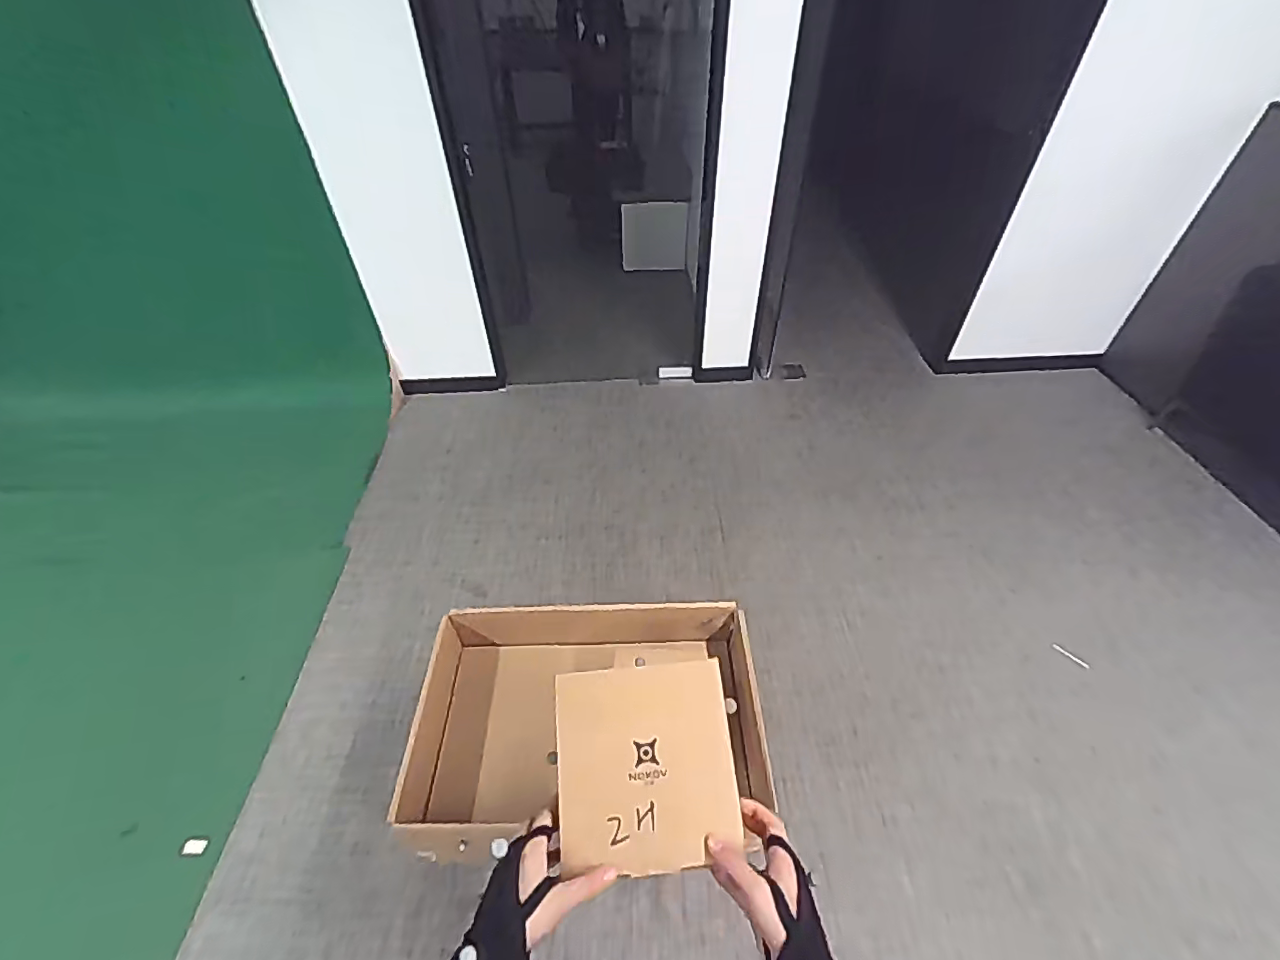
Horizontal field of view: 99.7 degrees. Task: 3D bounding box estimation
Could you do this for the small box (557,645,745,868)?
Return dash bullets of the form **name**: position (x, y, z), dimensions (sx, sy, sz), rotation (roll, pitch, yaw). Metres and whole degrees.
- **small box**: position (0.003, 0.284, 0.578), dimensions (0.168, 0.176, 0.179), rotation (-5, 66, -3)
